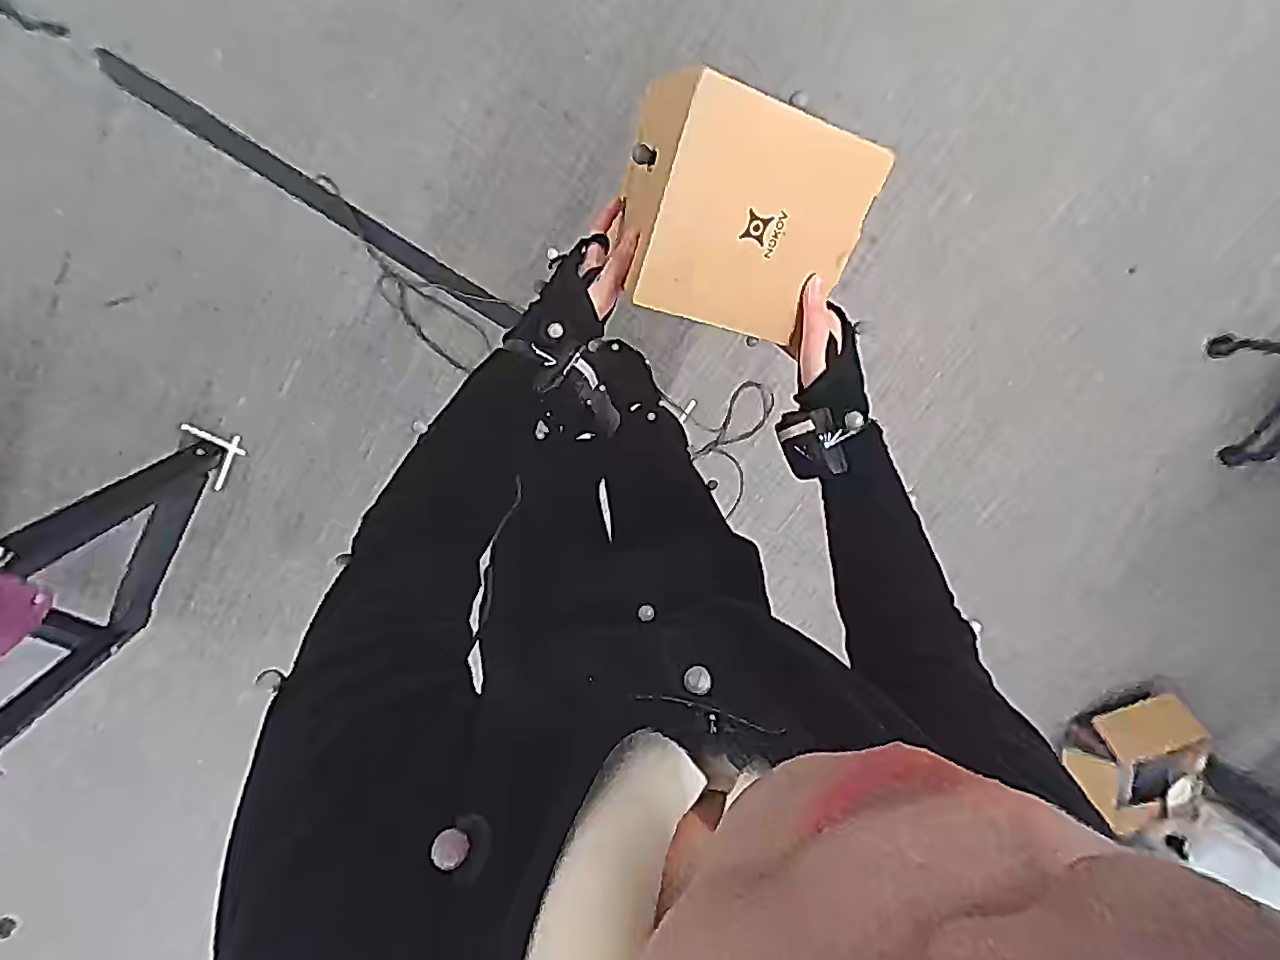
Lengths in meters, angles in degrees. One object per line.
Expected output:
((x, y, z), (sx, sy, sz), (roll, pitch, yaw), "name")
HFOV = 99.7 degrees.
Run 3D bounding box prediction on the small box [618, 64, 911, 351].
((0.099, -0.206, 0.465), (0.168, 0.176, 0.179), (-4, 107, -36), "small box")
